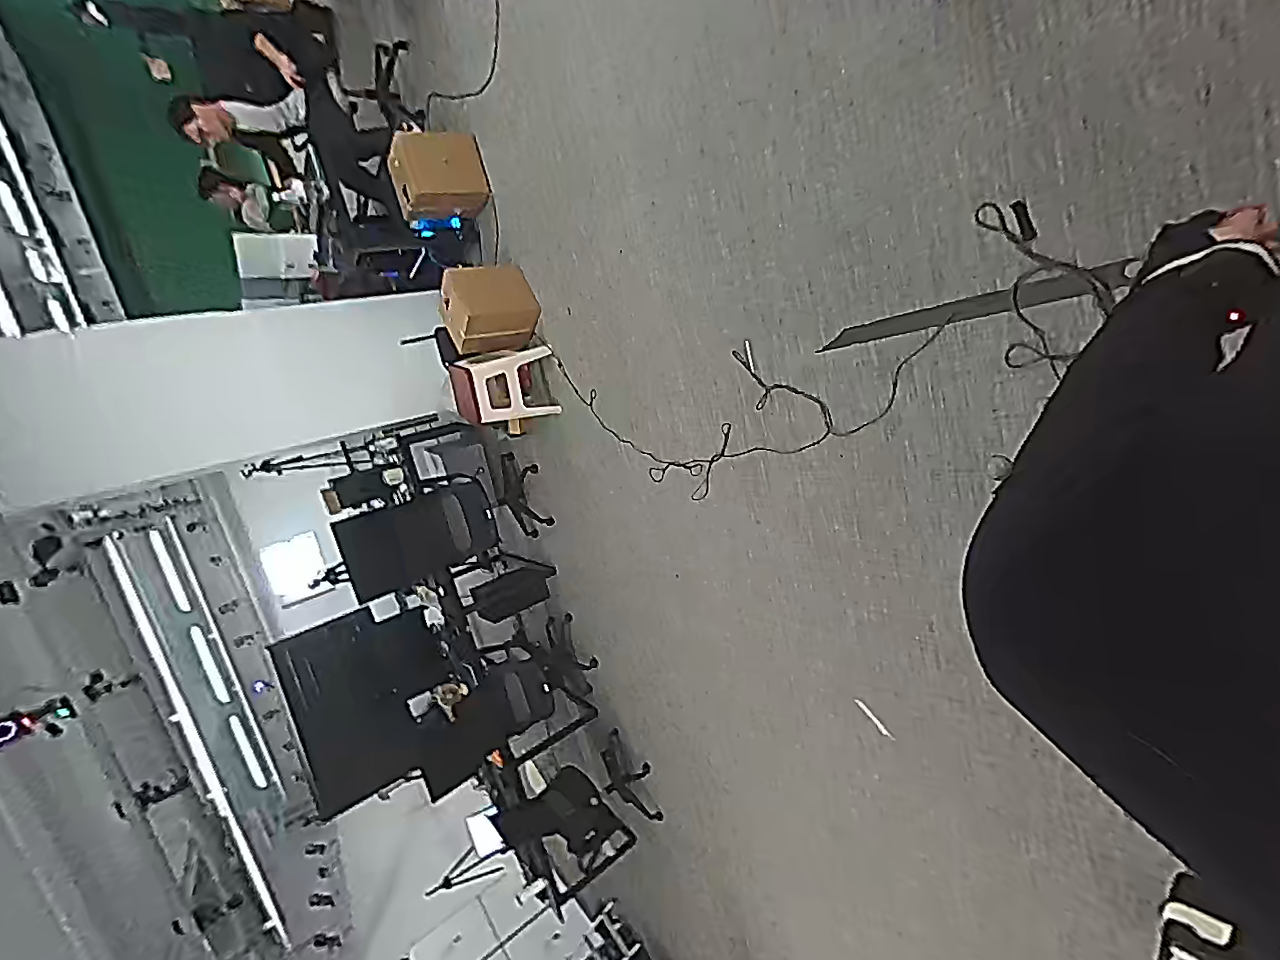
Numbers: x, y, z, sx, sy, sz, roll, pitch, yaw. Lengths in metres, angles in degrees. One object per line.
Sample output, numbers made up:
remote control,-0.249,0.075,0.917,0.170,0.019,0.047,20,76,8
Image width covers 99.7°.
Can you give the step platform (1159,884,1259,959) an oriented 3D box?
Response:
step platform,1.420,1.106,0.988,0.684,0.204,0.286,-1,107,55
